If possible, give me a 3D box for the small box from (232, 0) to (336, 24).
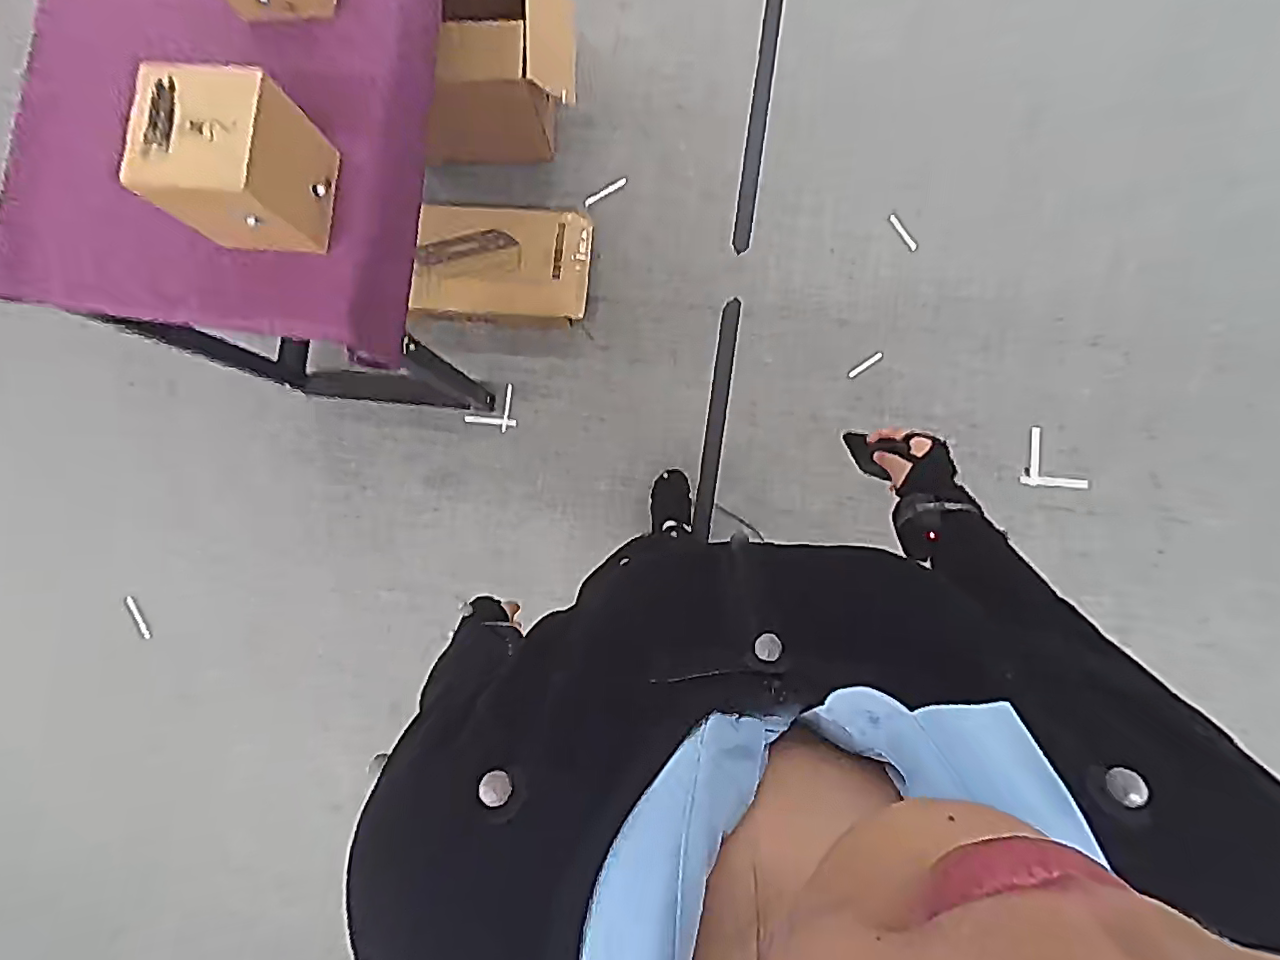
[{"bbox_3d":[-0.573,-0.838,0.807,0.168,0.176,0.179,5,86,7],"label":"small box"}]
